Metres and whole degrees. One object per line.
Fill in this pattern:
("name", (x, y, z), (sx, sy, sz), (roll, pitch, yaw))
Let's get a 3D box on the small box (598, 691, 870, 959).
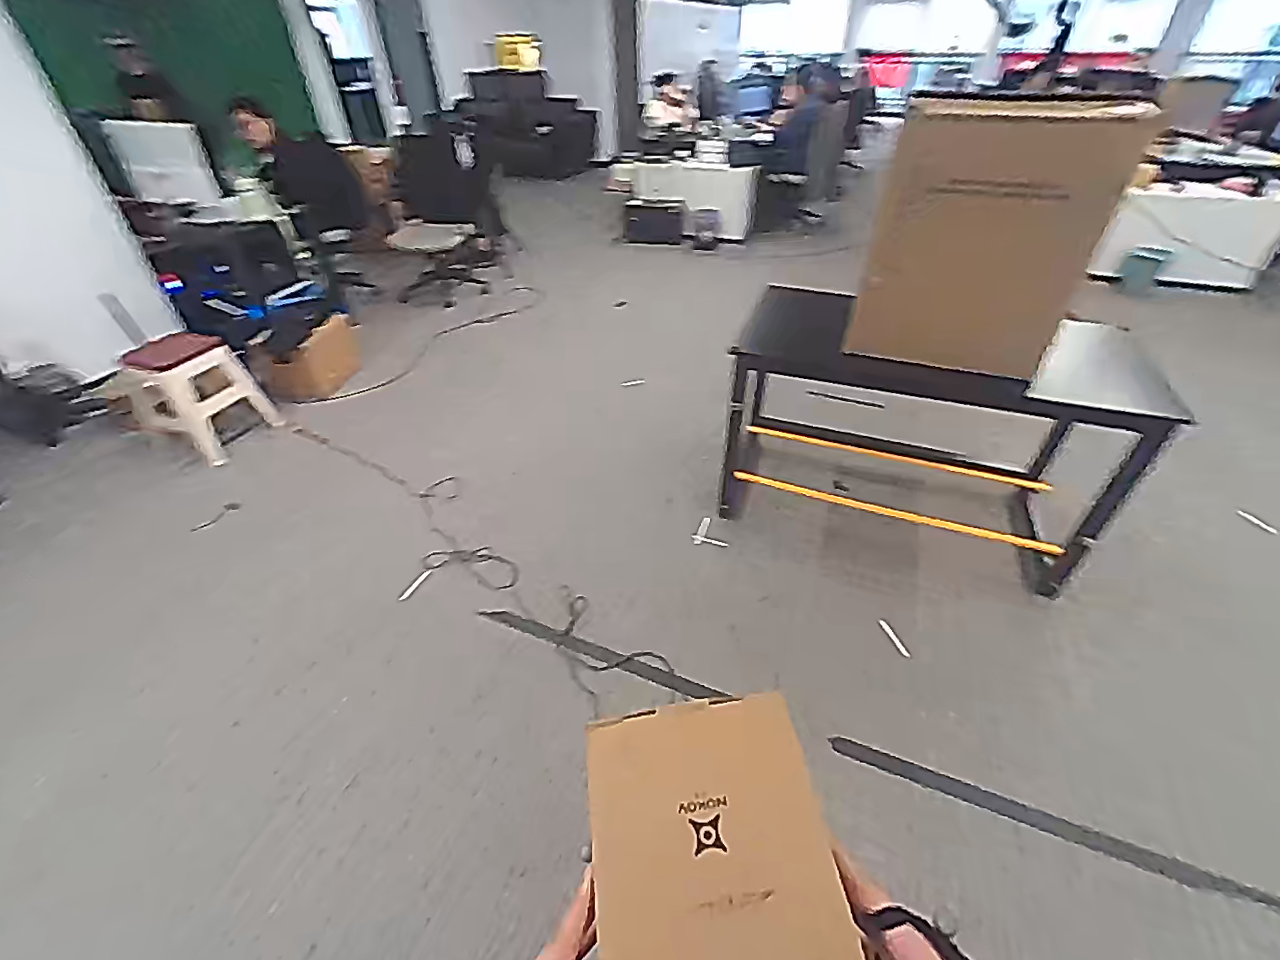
("small box", (0.058, 0.302, 0.445), (0.168, 0.176, 0.179), (-8, 47, -1))
